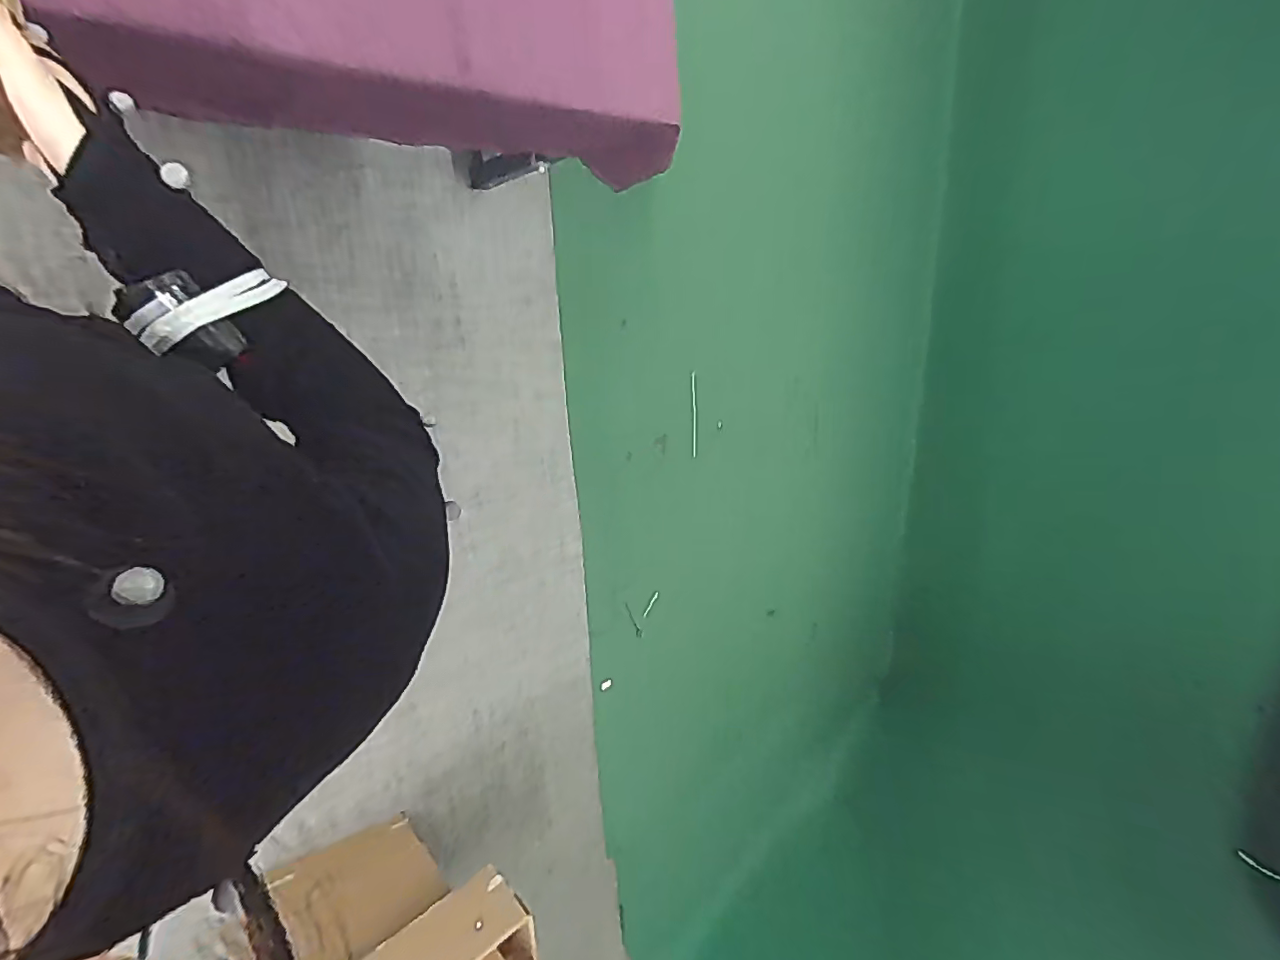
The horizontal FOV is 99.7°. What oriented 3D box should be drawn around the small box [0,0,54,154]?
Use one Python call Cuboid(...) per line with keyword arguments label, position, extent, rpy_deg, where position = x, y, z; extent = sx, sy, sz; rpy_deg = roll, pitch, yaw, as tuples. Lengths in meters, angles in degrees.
Cuboid(label="small box", position=(-0.473, -0.307, 0.294), extent=(0.179, 0.176, 0.168), rpy_deg=(-13, 104, -41))
